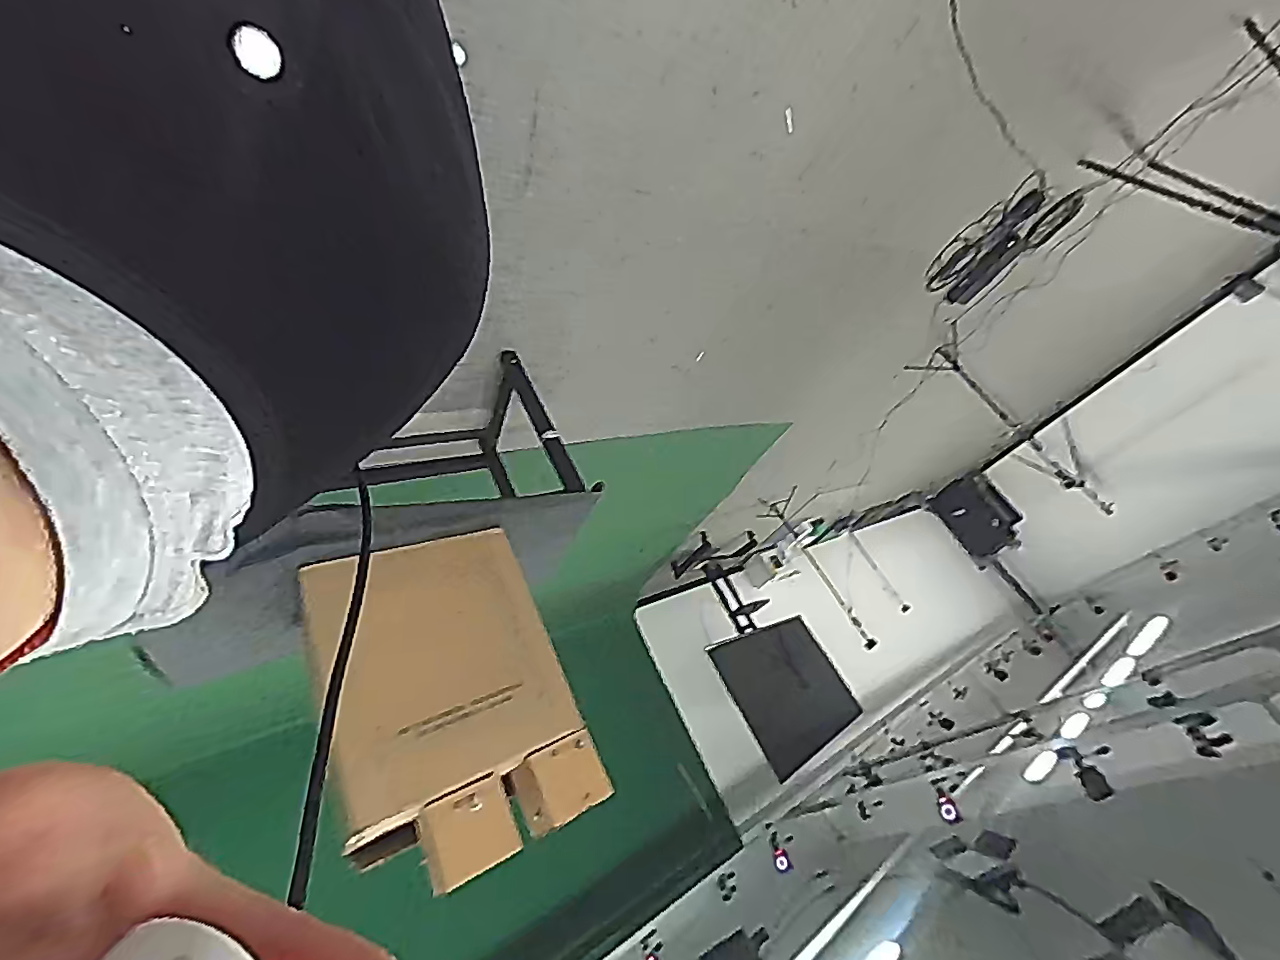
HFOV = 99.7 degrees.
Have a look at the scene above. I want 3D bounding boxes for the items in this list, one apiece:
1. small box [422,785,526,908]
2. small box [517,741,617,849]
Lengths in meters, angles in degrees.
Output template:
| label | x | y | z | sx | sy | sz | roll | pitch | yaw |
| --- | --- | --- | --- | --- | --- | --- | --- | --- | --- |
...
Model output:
| label | x | y | z | sx | sy | sz | roll | pitch | yaw |
| --- | --- | --- | --- | --- | --- | --- | --- | --- | --- |
| small box | -0.382 | 0.821 | 1.220 | 0.168 | 0.176 | 0.179 | -11 | 148 | -36 |
| small box | -0.190 | 0.785 | 1.359 | 0.168 | 0.176 | 0.179 | -10 | 149 | -38 |
